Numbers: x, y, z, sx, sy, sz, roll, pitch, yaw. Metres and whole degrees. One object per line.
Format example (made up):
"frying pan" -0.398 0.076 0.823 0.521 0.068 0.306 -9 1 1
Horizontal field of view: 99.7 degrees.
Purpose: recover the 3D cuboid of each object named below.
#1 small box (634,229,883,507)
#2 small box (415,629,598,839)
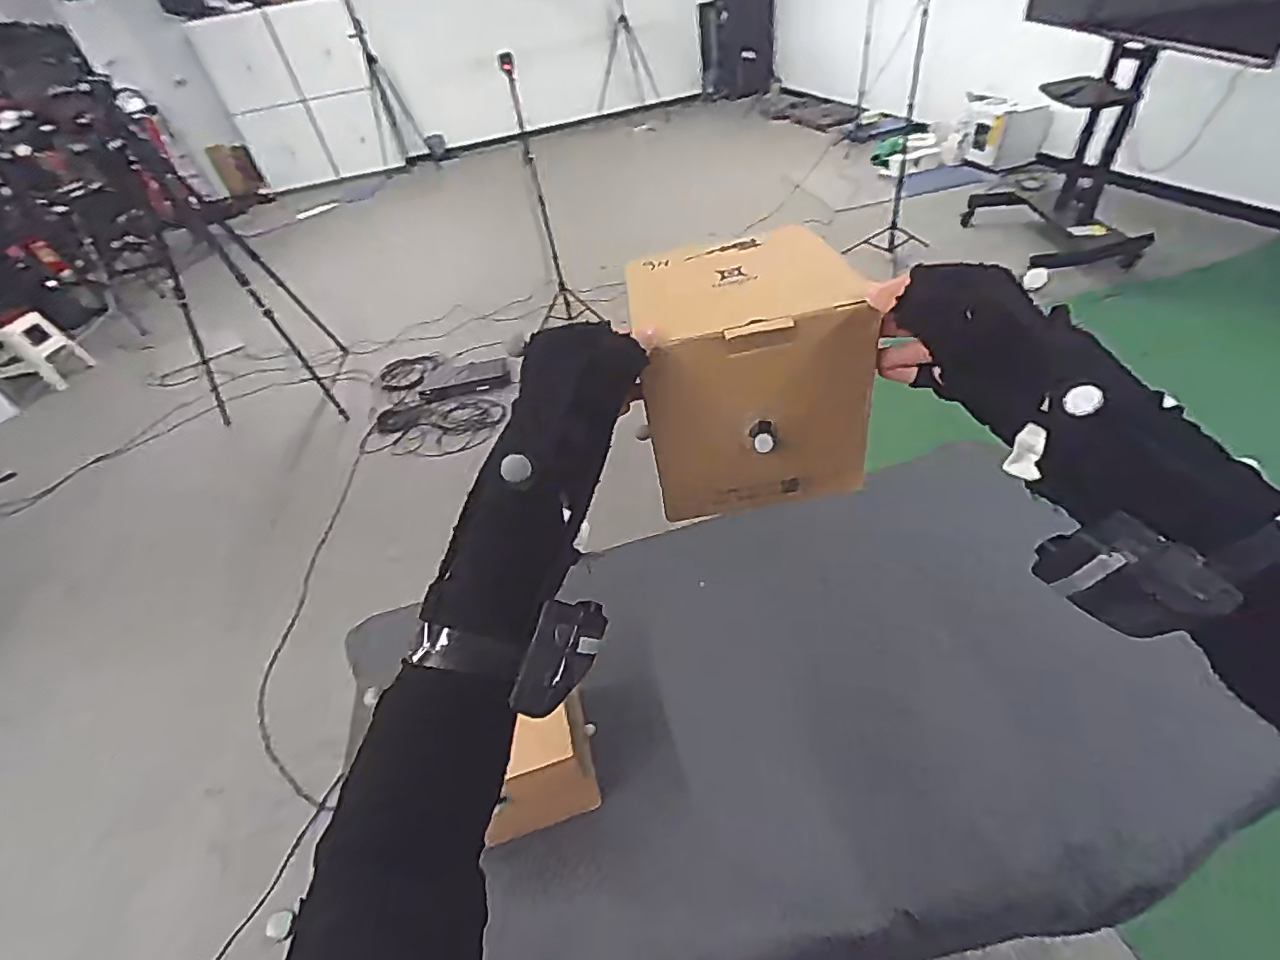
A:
"small box" 0.092 -0.091 0.471 0.168 0.176 0.179 -9 40 4
"small box" -0.166 0.326 0.693 0.179 0.176 0.168 -16 43 -7
